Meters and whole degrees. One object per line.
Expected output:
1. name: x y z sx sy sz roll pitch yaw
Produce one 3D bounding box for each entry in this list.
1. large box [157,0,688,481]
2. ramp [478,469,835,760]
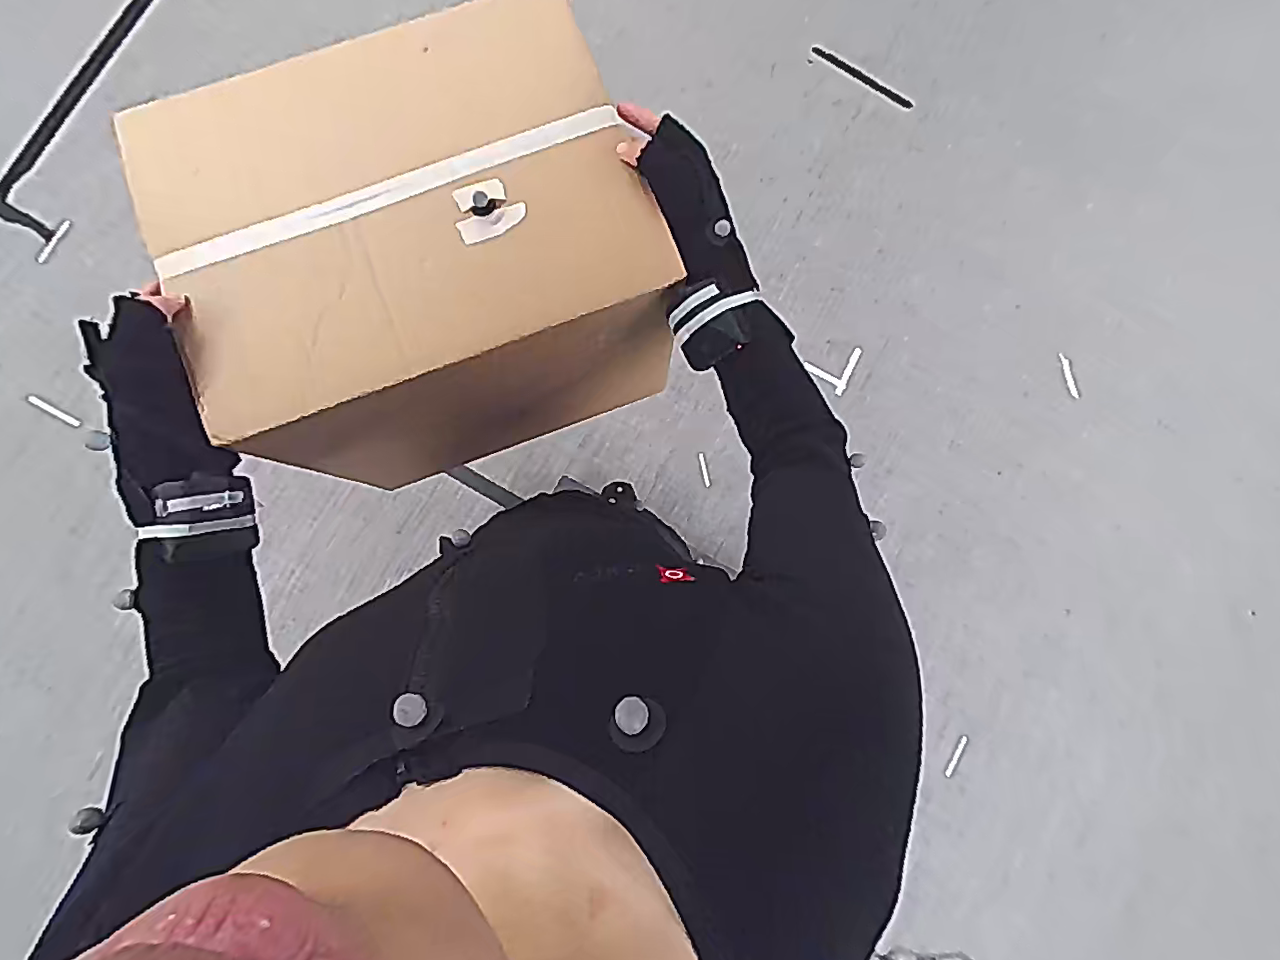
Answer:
1. large box: -0.197 -0.228 0.620 0.408 0.320 0.320 -21 83 -4
2. ramp: 0.095 0.415 1.580 0.991 0.206 0.509 27 83 -3
